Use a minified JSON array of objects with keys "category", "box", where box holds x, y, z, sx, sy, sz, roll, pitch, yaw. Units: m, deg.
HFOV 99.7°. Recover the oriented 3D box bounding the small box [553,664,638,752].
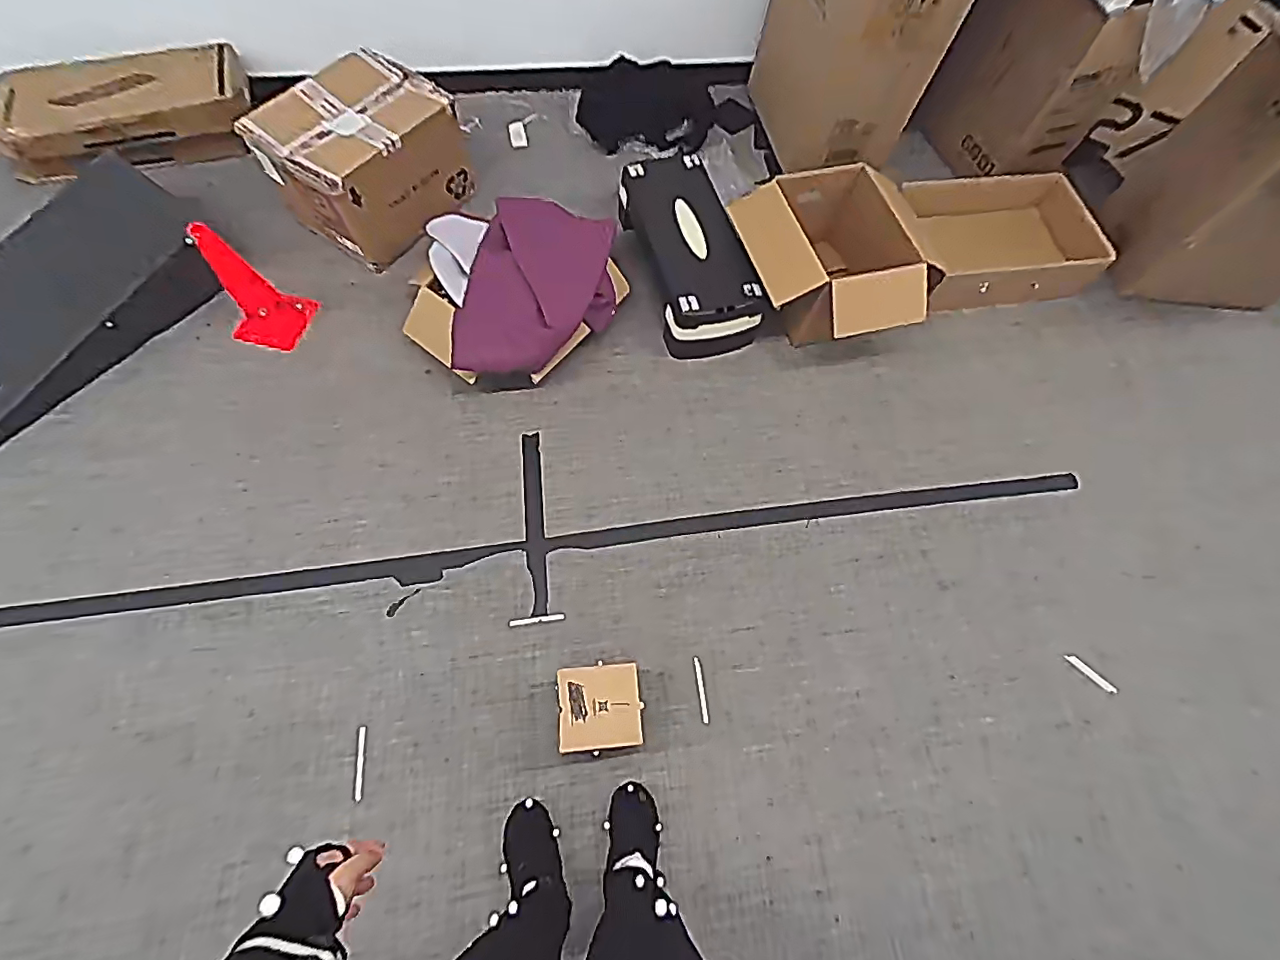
[{"category":"small box","box":[-0.100,0.514,1.223,0.179,0.176,0.168,-3,68,-6]}]
